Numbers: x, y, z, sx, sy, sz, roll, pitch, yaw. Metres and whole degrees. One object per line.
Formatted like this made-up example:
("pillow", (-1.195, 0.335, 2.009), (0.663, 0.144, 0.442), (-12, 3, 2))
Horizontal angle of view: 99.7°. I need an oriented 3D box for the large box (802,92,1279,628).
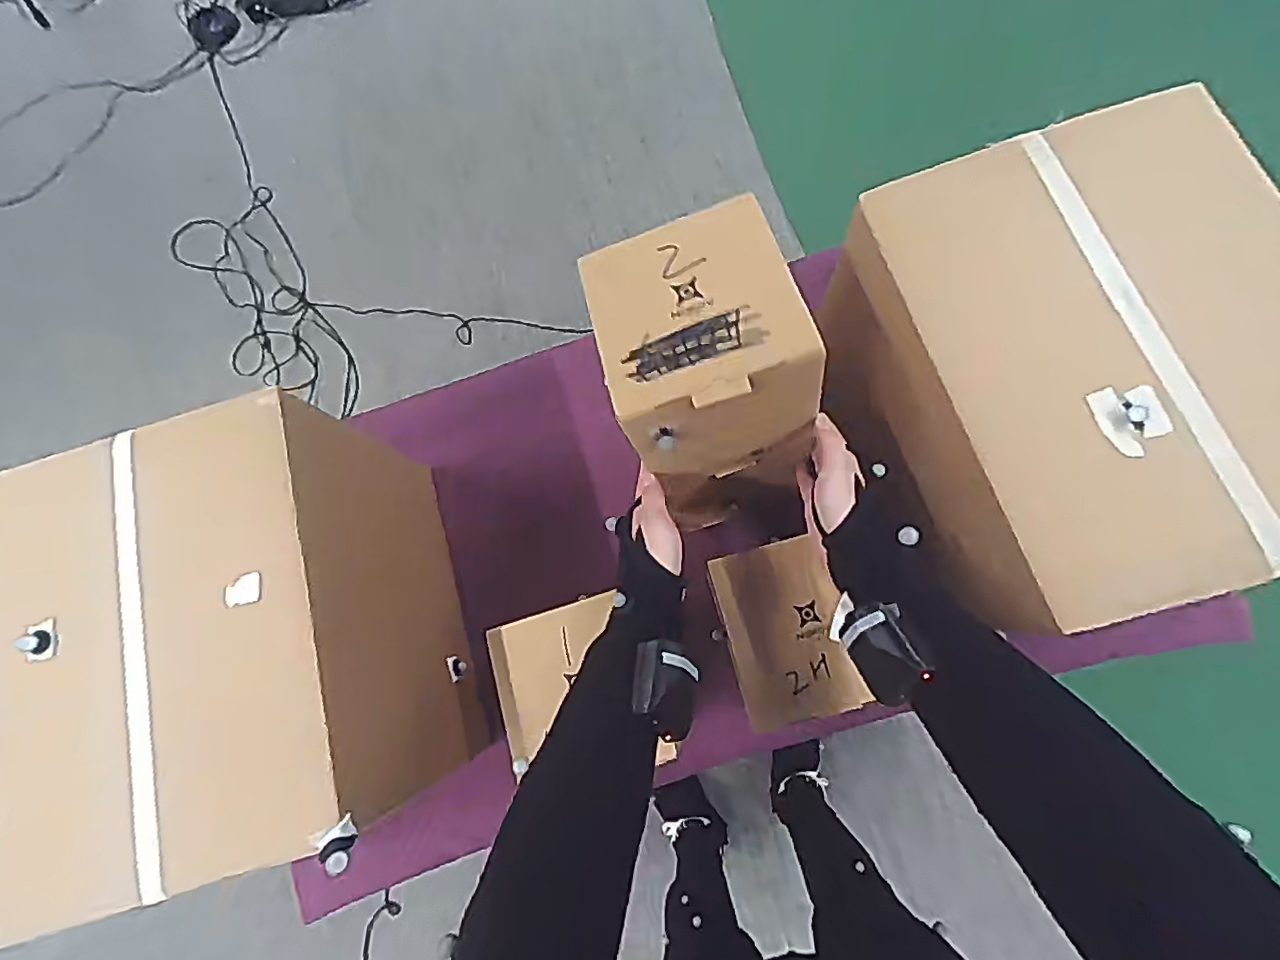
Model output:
("large box", (0.415, -0.087, 0.581), (0.320, 0.320, 0.408), (-17, 76, 3))
